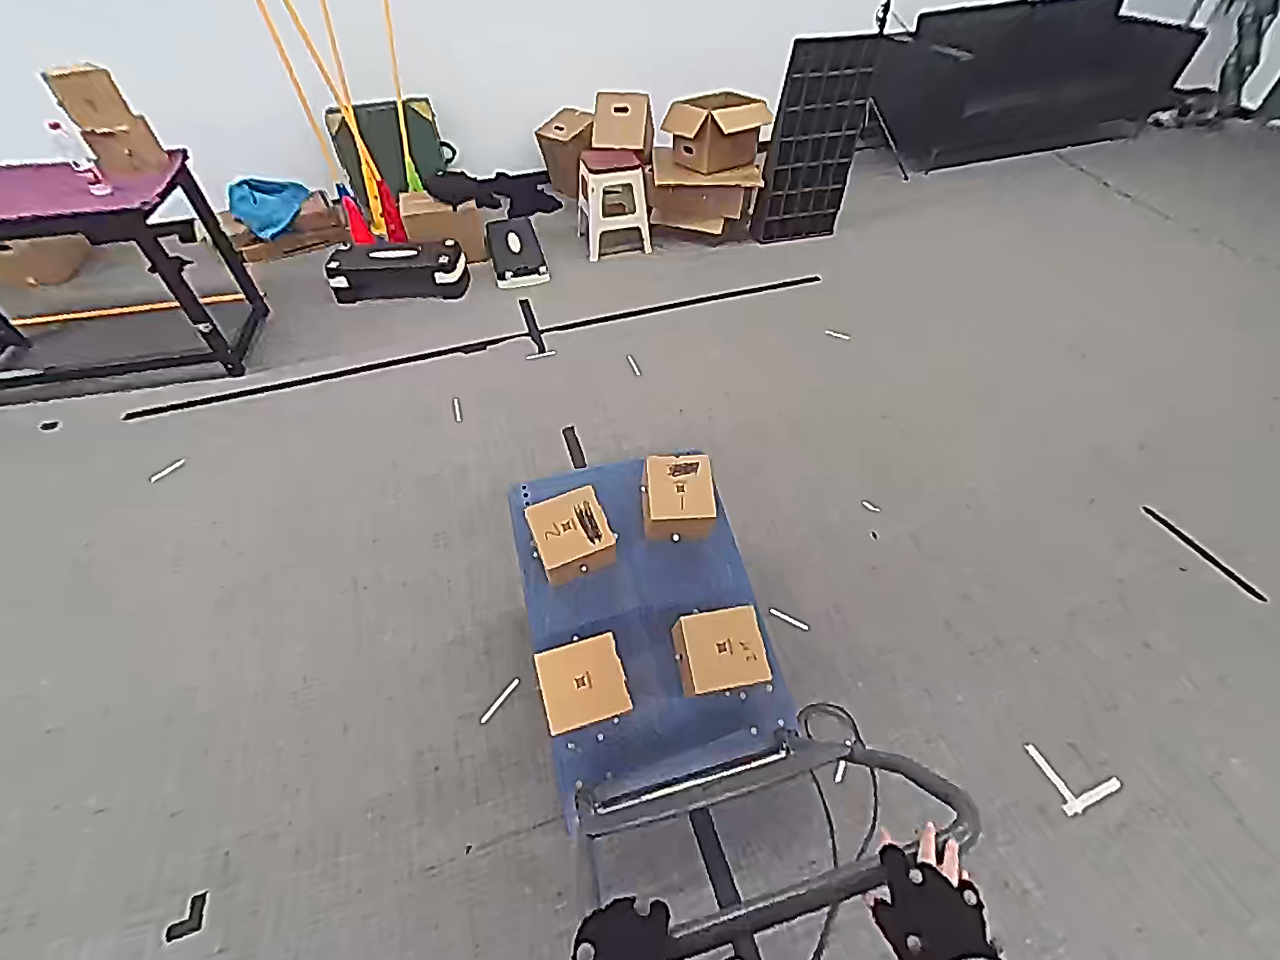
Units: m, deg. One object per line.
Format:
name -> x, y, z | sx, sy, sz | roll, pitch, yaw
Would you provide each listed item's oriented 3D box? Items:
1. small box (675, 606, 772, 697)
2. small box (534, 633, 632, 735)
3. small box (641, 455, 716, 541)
small box -> 0.182, 0.402, 1.257 | 0.179, 0.176, 0.168 | -7, 66, -8
small box -> -0.126, 0.459, 1.206 | 0.179, 0.176, 0.168 | -14, 67, -12
small box -> 0.094, 0.049, 1.417 | 0.168, 0.176, 0.179 | -2, 66, -6
